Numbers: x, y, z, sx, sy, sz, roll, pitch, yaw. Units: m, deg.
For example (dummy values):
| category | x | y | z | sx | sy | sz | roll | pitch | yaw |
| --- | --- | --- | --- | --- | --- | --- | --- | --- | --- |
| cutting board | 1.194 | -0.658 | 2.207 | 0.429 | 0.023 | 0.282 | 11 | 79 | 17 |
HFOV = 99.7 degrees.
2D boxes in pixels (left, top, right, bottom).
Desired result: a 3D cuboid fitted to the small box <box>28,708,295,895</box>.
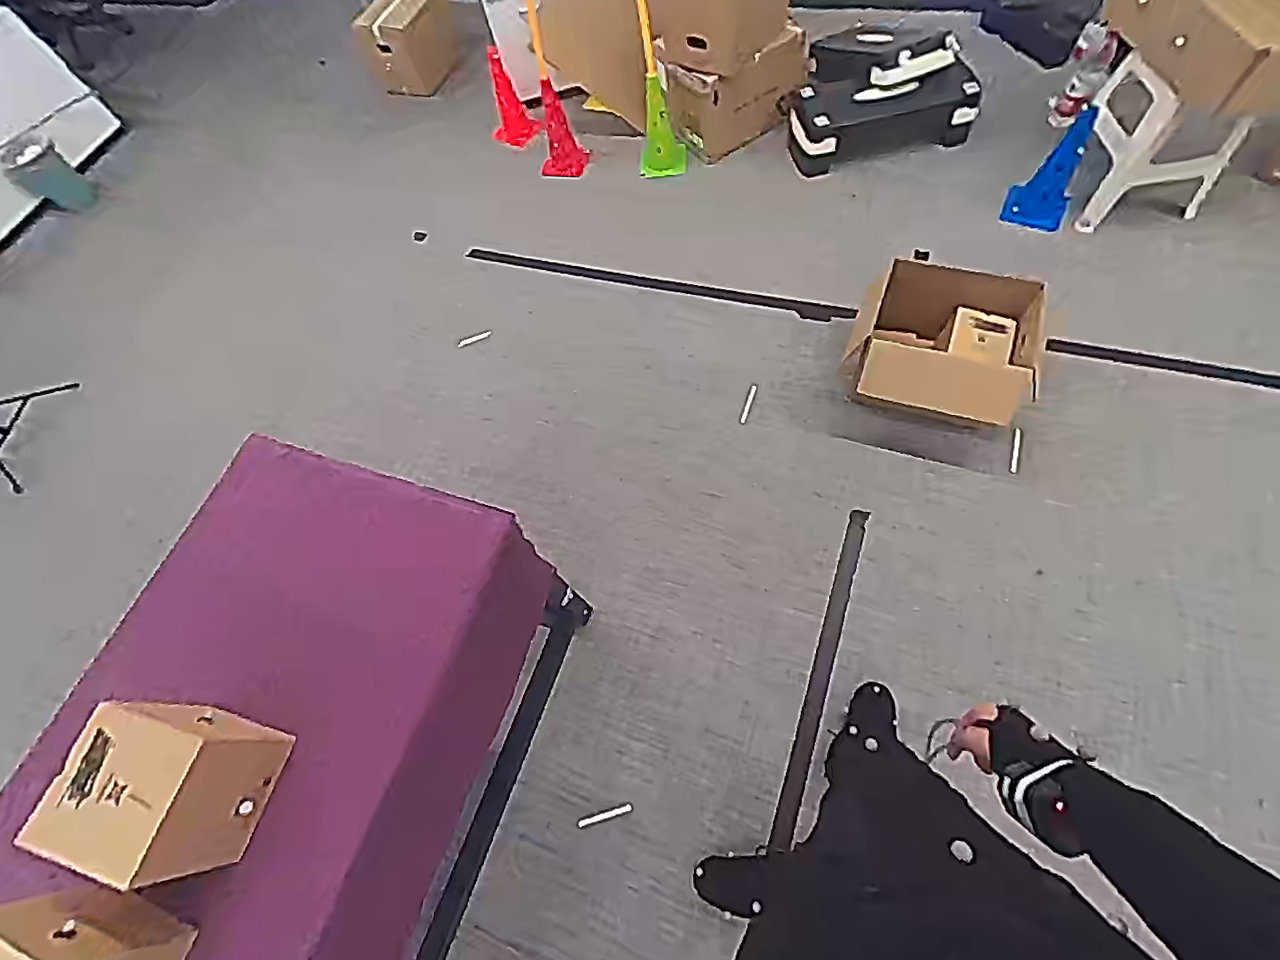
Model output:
| category | x | y | z | sx | sy | sz | roll | pitch | yaw |
| --- | --- | --- | --- | --- | --- | --- | --- | --- | --- |
| small box | -0.631 | 0.424 | 0.739 | 0.179 | 0.176 | 0.168 | 10 | 67 | 13 |

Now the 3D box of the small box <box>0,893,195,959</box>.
| category | x | y | z | sx | sy | sz | roll | pitch | yaw |
| --- | --- | --- | --- | --- | --- | --- | --- | --- | --- |
| small box | -0.704 | 0.636 | 0.649 | 0.179 | 0.176 | 0.168 | 13 | 67 | 15 |
